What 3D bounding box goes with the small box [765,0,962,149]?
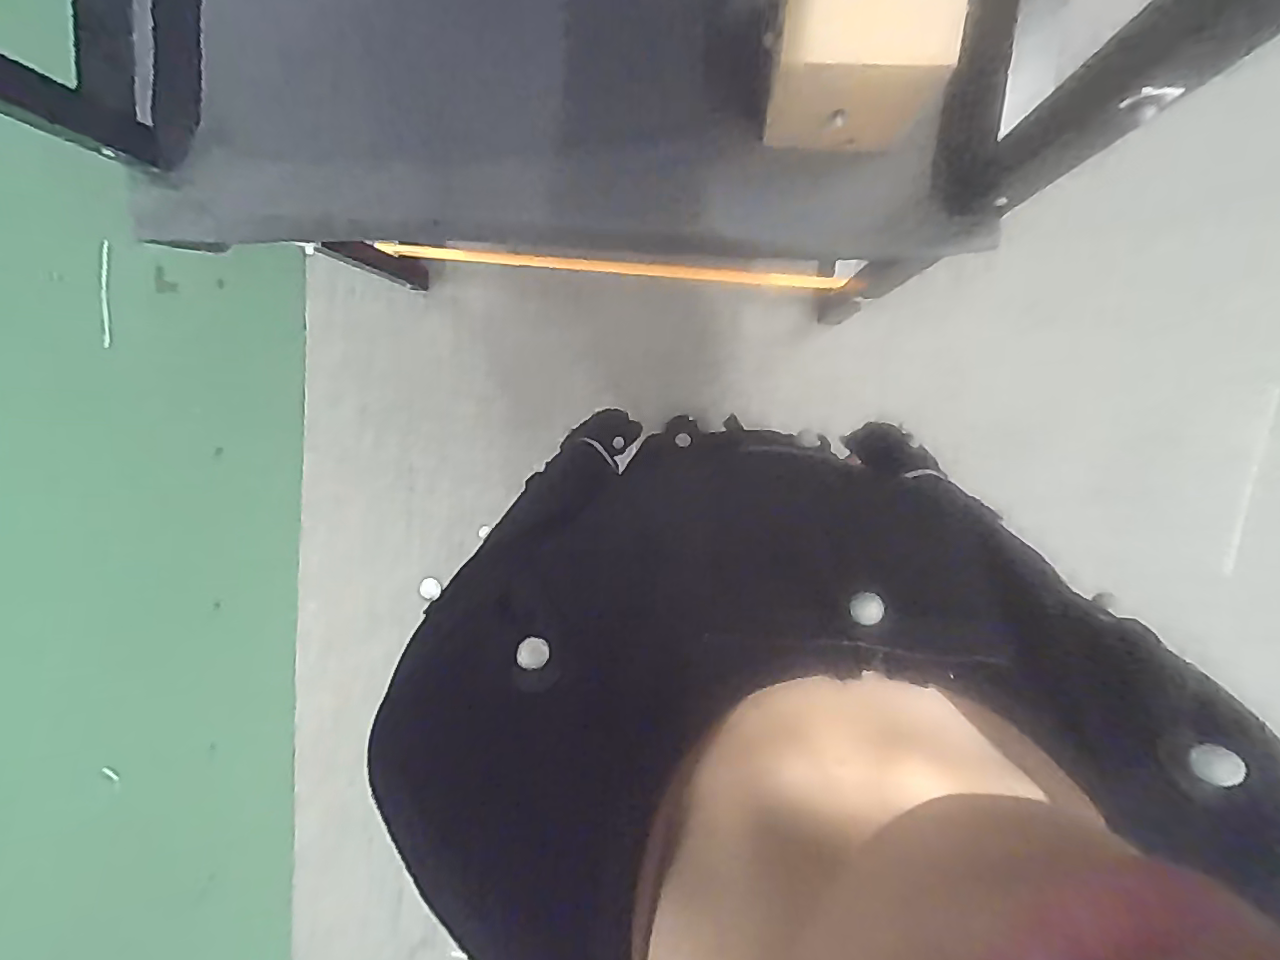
[{"bbox_3d":[0.235,-0.491,0.590,0.168,0.176,0.179,7,97,6],"label":"small box"}]
